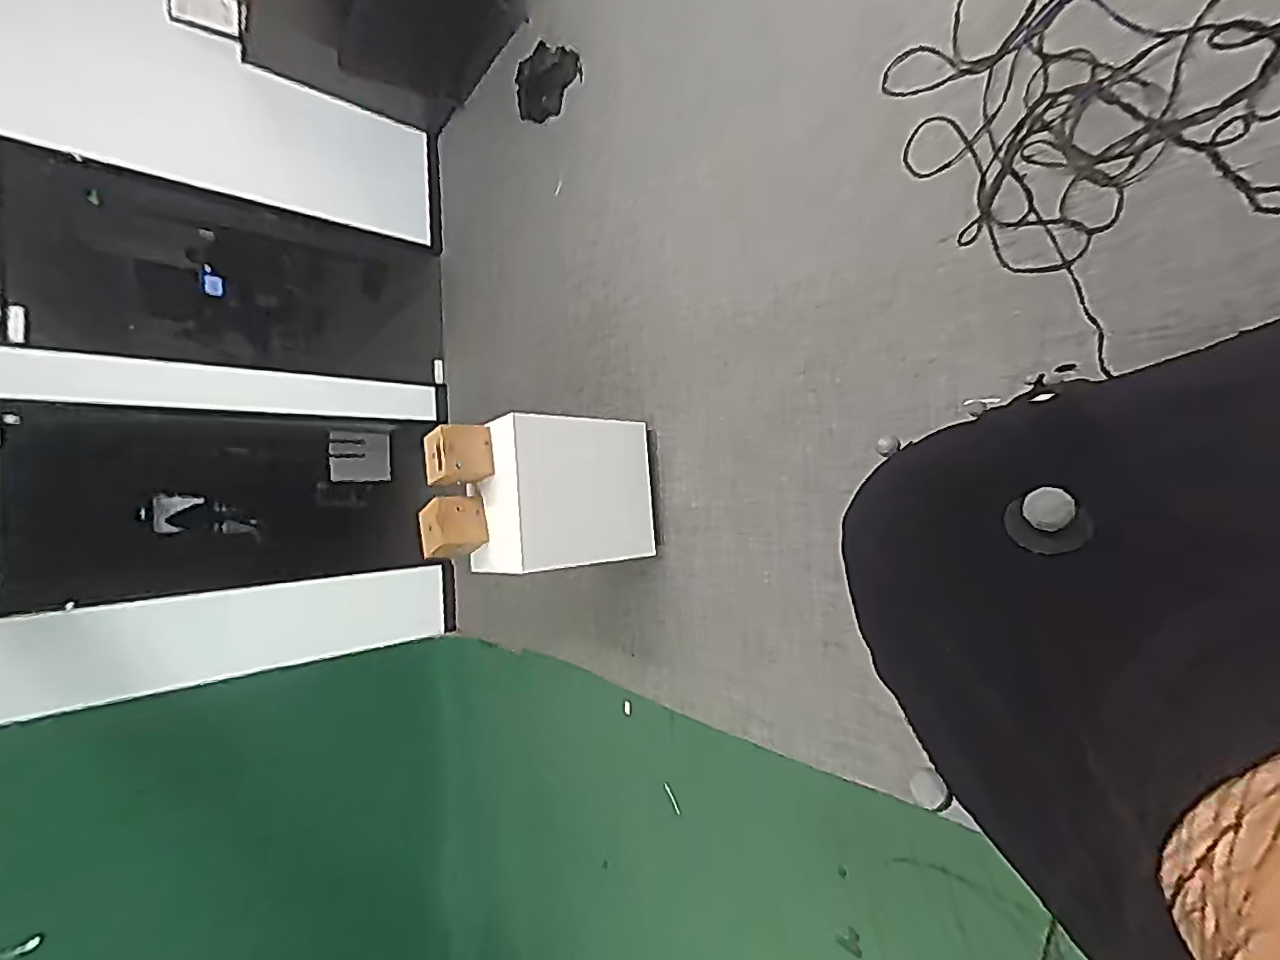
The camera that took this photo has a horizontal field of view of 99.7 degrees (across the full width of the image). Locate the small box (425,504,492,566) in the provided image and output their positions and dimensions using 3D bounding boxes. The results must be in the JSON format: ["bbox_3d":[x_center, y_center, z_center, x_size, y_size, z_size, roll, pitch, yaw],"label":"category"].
[{"bbox_3d":[-0.622,0.188,1.870,0.179,0.176,0.168,-34,65,45],"label":"small box"}]
